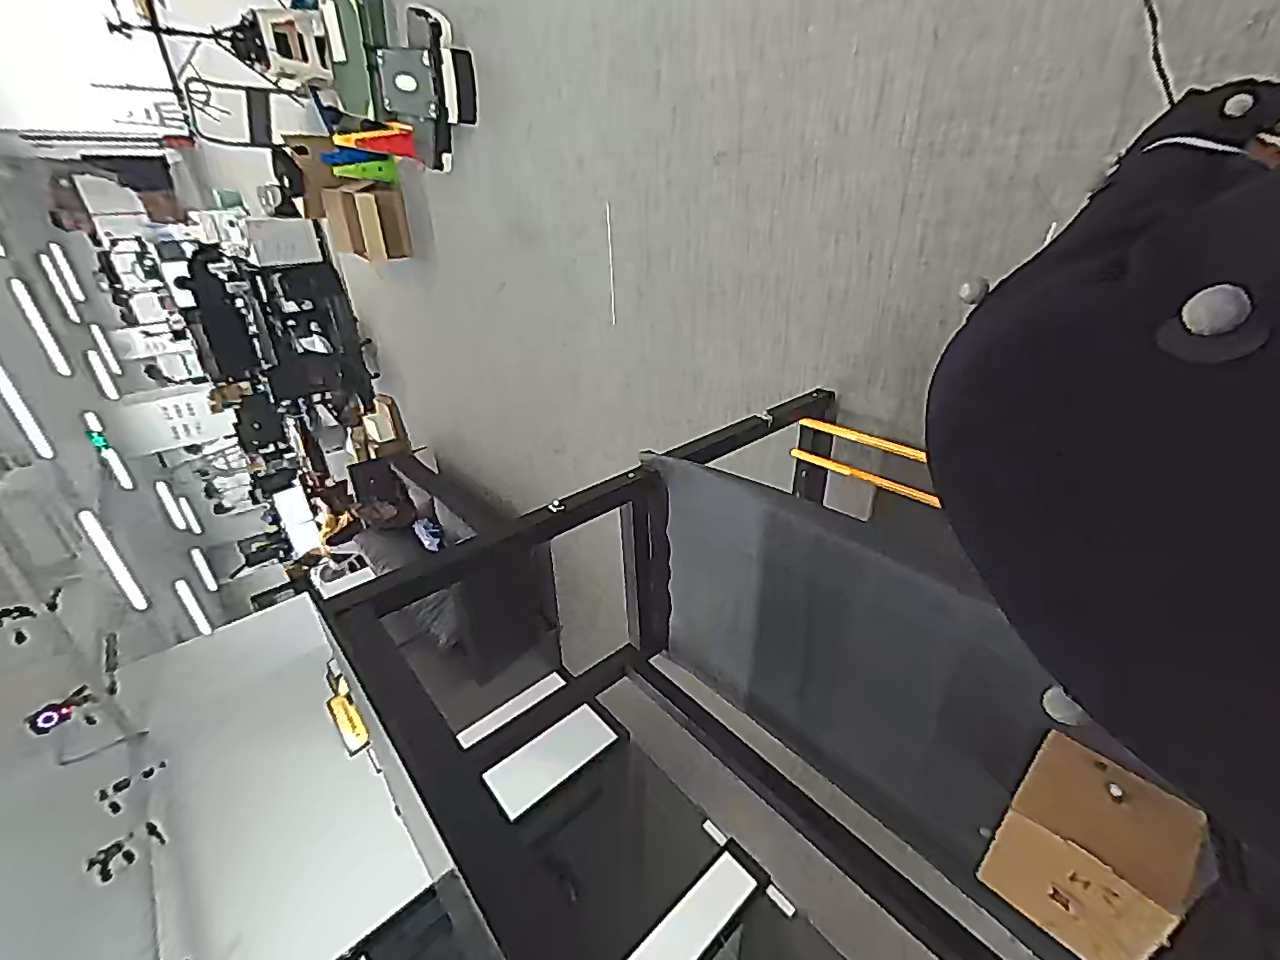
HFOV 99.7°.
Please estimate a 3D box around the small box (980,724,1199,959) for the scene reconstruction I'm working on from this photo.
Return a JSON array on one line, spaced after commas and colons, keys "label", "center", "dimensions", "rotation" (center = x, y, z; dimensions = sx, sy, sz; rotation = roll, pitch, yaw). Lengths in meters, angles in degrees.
[{"label": "small box", "center": [0.595, 0.476, 0.723], "dimensions": [0.168, 0.176, 0.179], "rotation": [27, 130, 42]}]
